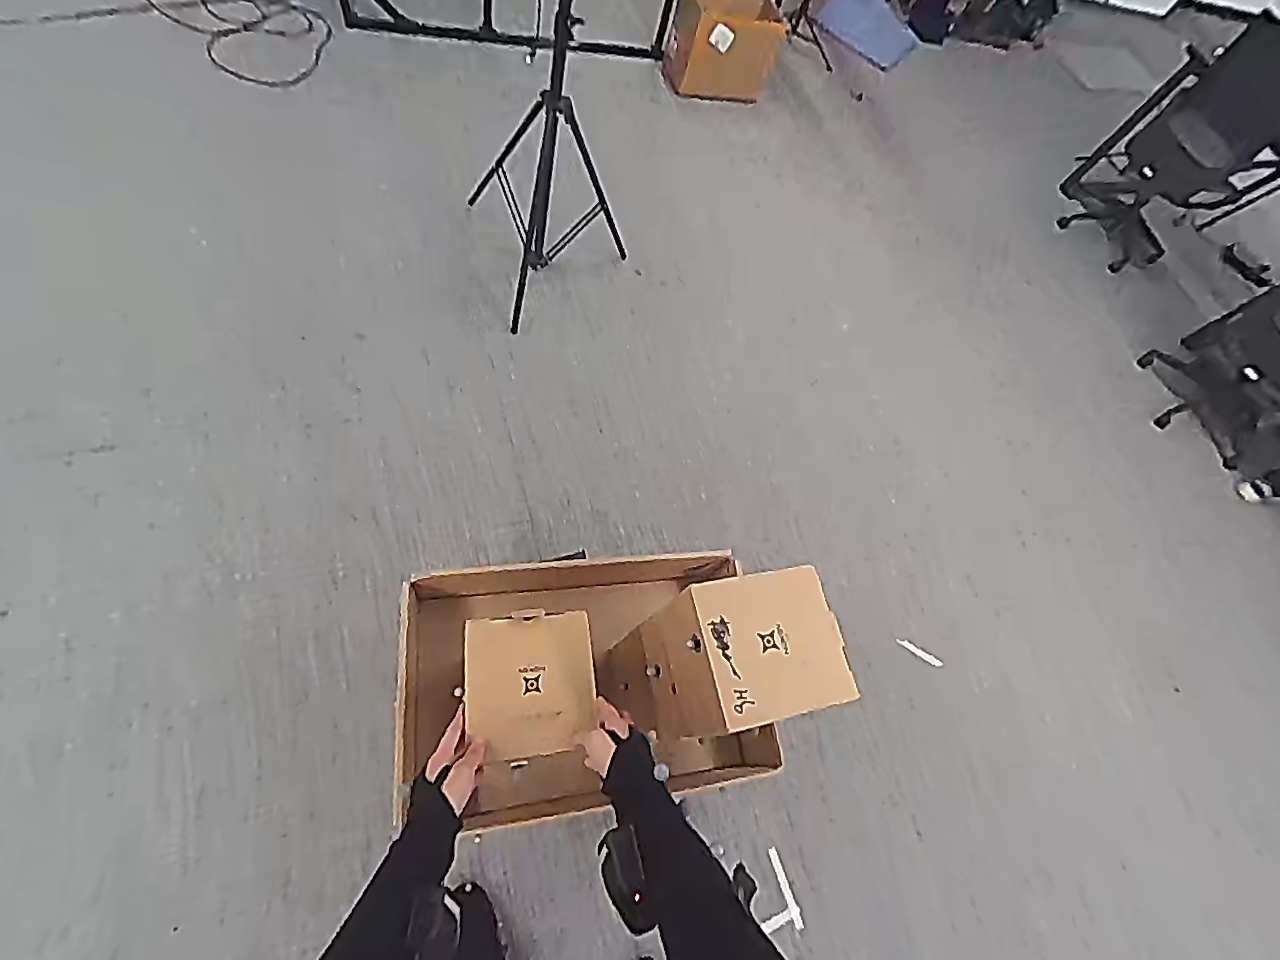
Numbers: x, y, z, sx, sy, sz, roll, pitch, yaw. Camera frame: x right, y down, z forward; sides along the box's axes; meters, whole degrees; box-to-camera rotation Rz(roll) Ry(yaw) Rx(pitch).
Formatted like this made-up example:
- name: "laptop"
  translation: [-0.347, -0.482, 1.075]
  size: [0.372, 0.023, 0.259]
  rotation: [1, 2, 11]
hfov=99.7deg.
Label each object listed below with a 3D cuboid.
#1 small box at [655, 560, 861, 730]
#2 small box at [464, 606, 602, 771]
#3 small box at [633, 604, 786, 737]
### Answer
- name: "small box"
  translation: [0.137, 0.213, 0.692]
  size: [0.179, 0.176, 0.168]
  rotation: [-5, 65, -18]
- name: "small box"
  translation: [-0.155, 0.289, 0.749]
  size: [0.168, 0.176, 0.179]
  rotation: [0, 59, -16]
- name: "small box"
  translation: [0.096, 0.287, 0.833]
  size: [0.168, 0.176, 0.179]
  rotation: [-4, 65, -17]
